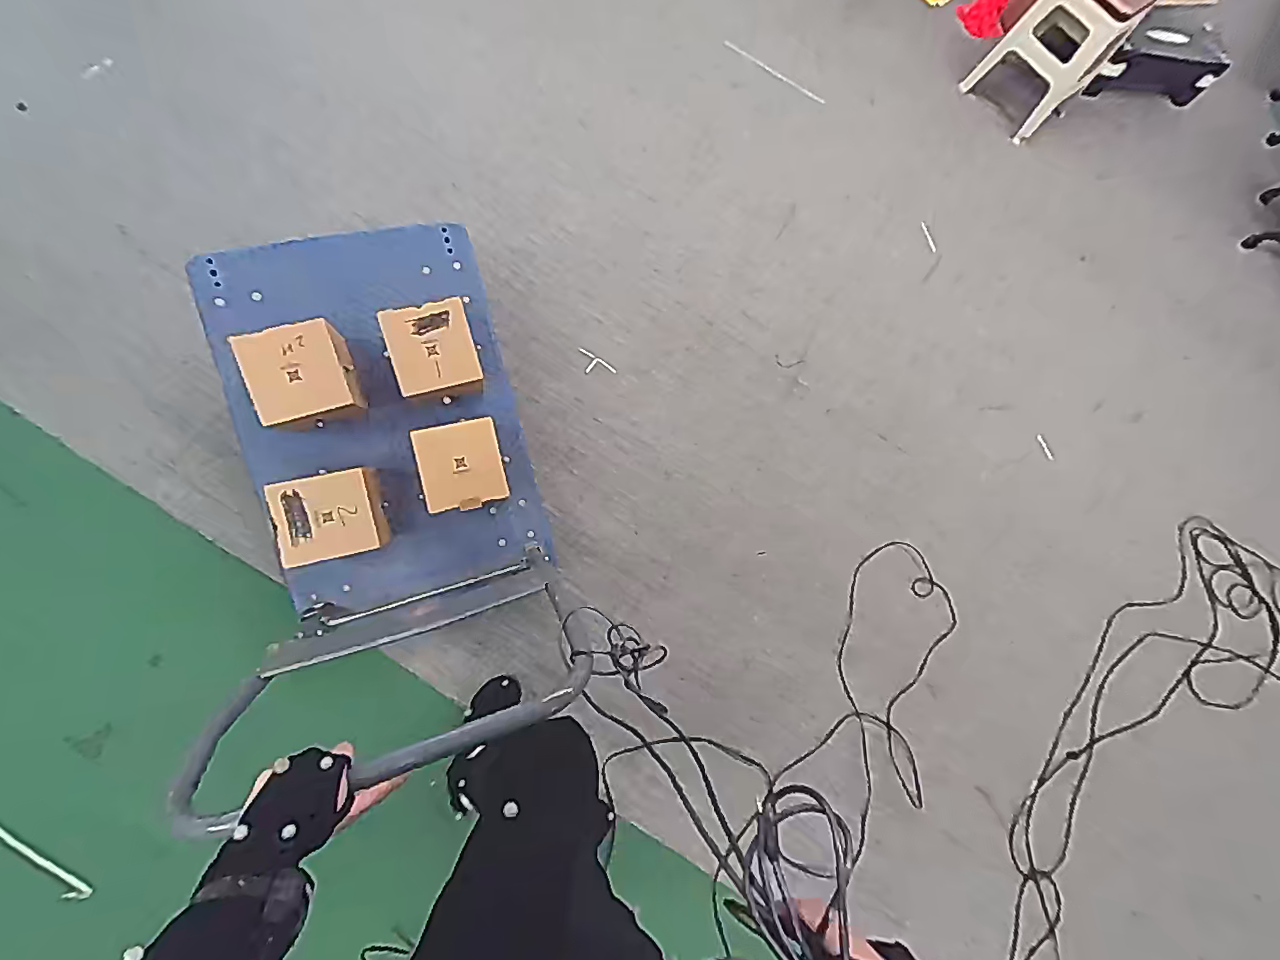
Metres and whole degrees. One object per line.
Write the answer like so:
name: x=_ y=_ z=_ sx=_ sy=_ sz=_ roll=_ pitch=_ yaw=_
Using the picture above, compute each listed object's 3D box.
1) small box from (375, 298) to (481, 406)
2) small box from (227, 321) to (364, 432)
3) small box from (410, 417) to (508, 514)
small box: x=-0.451 y=-0.270 z=1.172 sx=0.168 sy=0.176 sz=0.179 roll=-17 pitch=96 yaw=-14
small box: x=-0.689 y=-0.202 z=1.107 sx=0.168 sy=0.176 sz=0.179 roll=-19 pitch=96 yaw=-15
small box: x=-0.396 y=-0.032 z=1.193 sx=0.168 sy=0.176 sz=0.179 roll=-14 pitch=96 yaw=-15
